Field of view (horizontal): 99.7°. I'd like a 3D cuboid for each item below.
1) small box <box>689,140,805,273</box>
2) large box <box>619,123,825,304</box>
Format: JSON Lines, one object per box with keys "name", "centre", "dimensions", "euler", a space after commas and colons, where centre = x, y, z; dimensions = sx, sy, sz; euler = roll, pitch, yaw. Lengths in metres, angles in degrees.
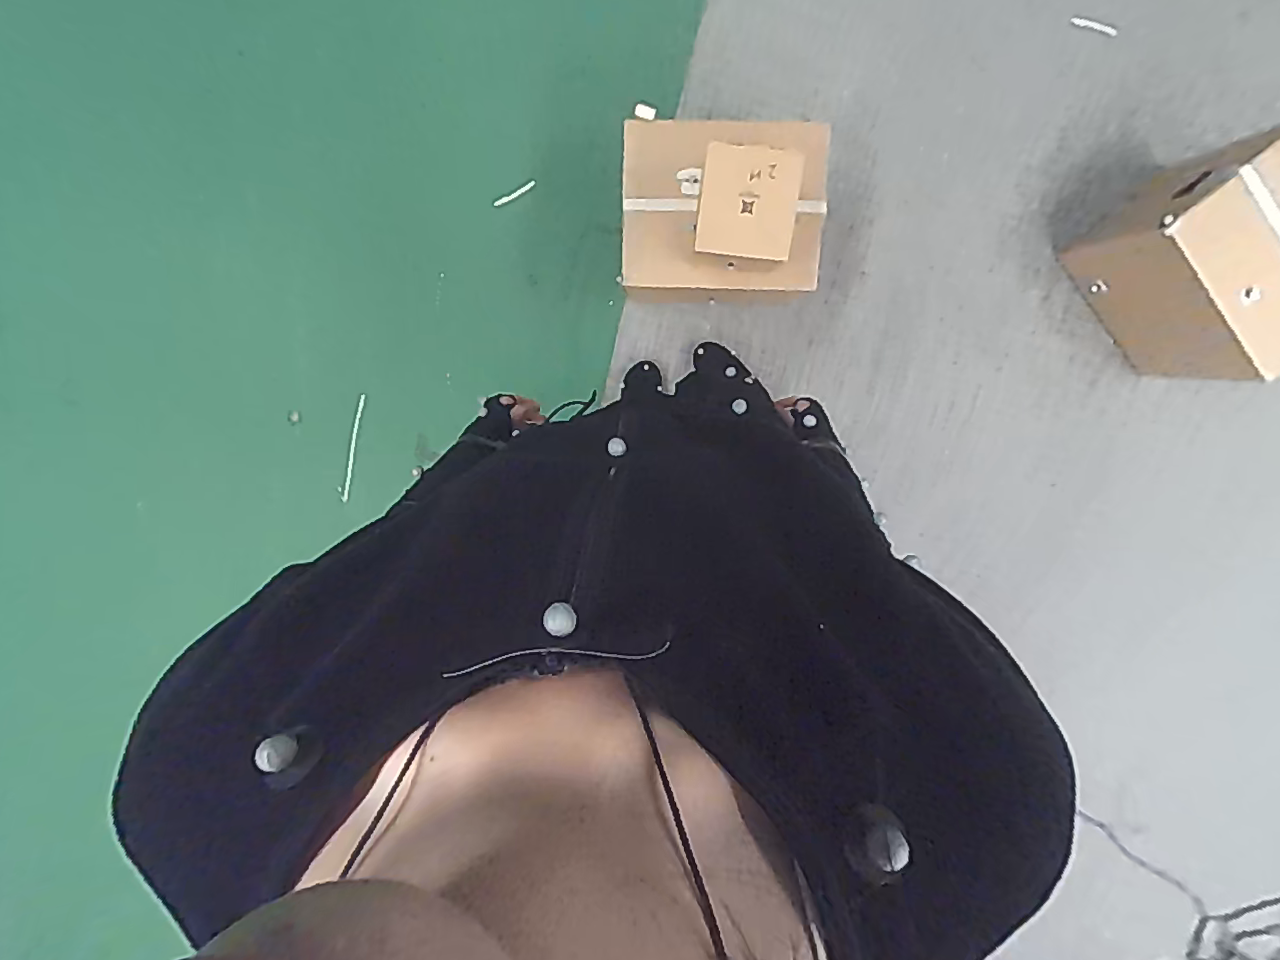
{"name": "small box", "centre": [0.184, -0.485, 0.988], "dimensions": [0.168, 0.176, 0.179], "euler": [7, 103, -1]}
{"name": "large box", "centre": [0.168, -0.571, 1.223], "dimensions": [0.408, 0.320, 0.320], "euler": [2, 102, 3]}
